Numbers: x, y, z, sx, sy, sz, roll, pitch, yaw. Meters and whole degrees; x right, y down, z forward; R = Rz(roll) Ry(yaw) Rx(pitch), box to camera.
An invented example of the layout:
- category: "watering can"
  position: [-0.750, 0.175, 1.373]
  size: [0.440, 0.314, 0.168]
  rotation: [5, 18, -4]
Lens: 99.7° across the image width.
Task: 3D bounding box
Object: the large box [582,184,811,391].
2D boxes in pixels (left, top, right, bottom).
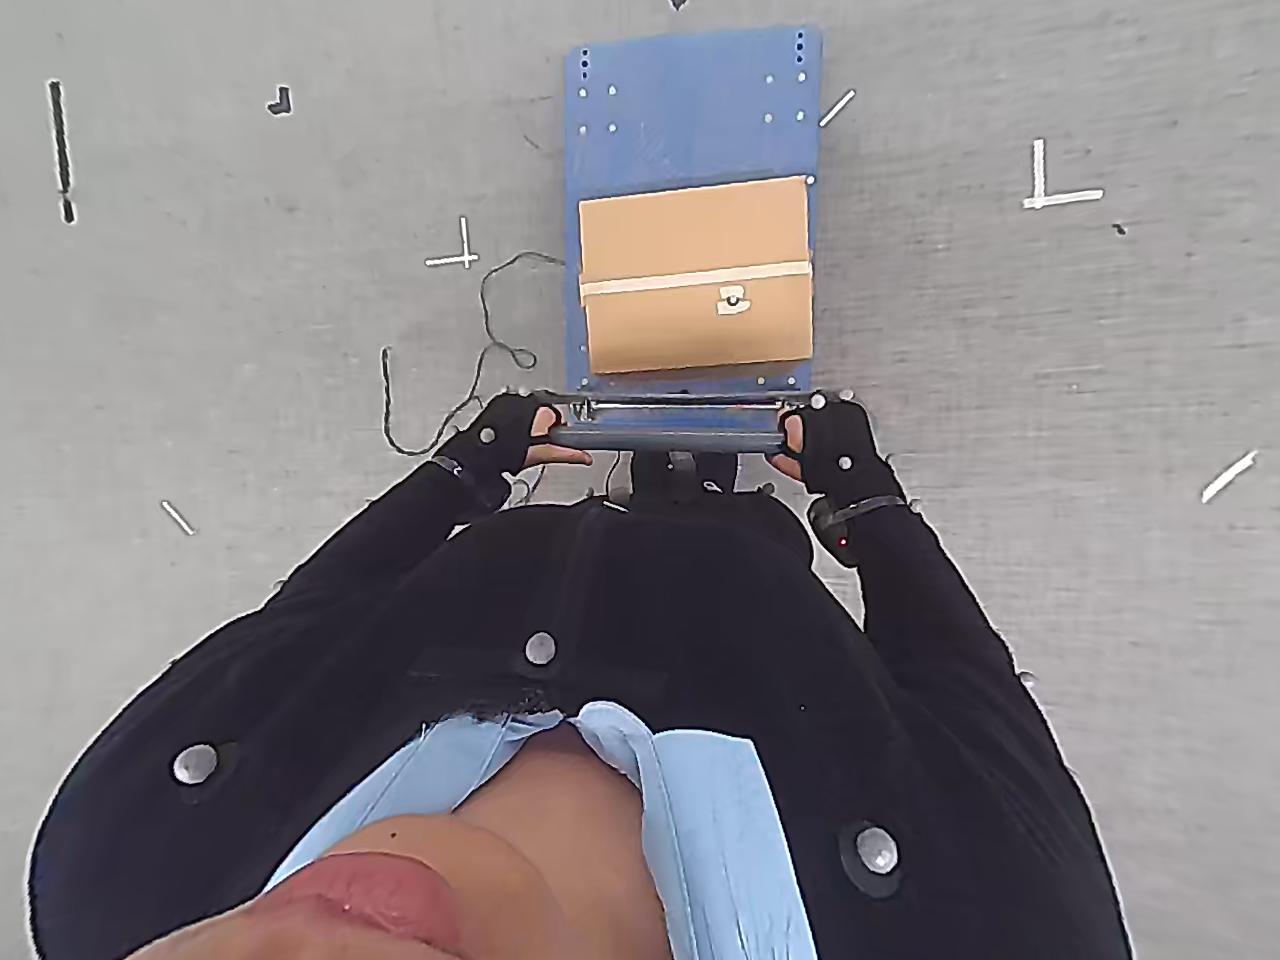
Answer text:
- category: "large box"
  position: [0.114, -0.368, 1.127]
  size: [0.408, 0.320, 0.320]
  rotation: [-3, 96, 6]
